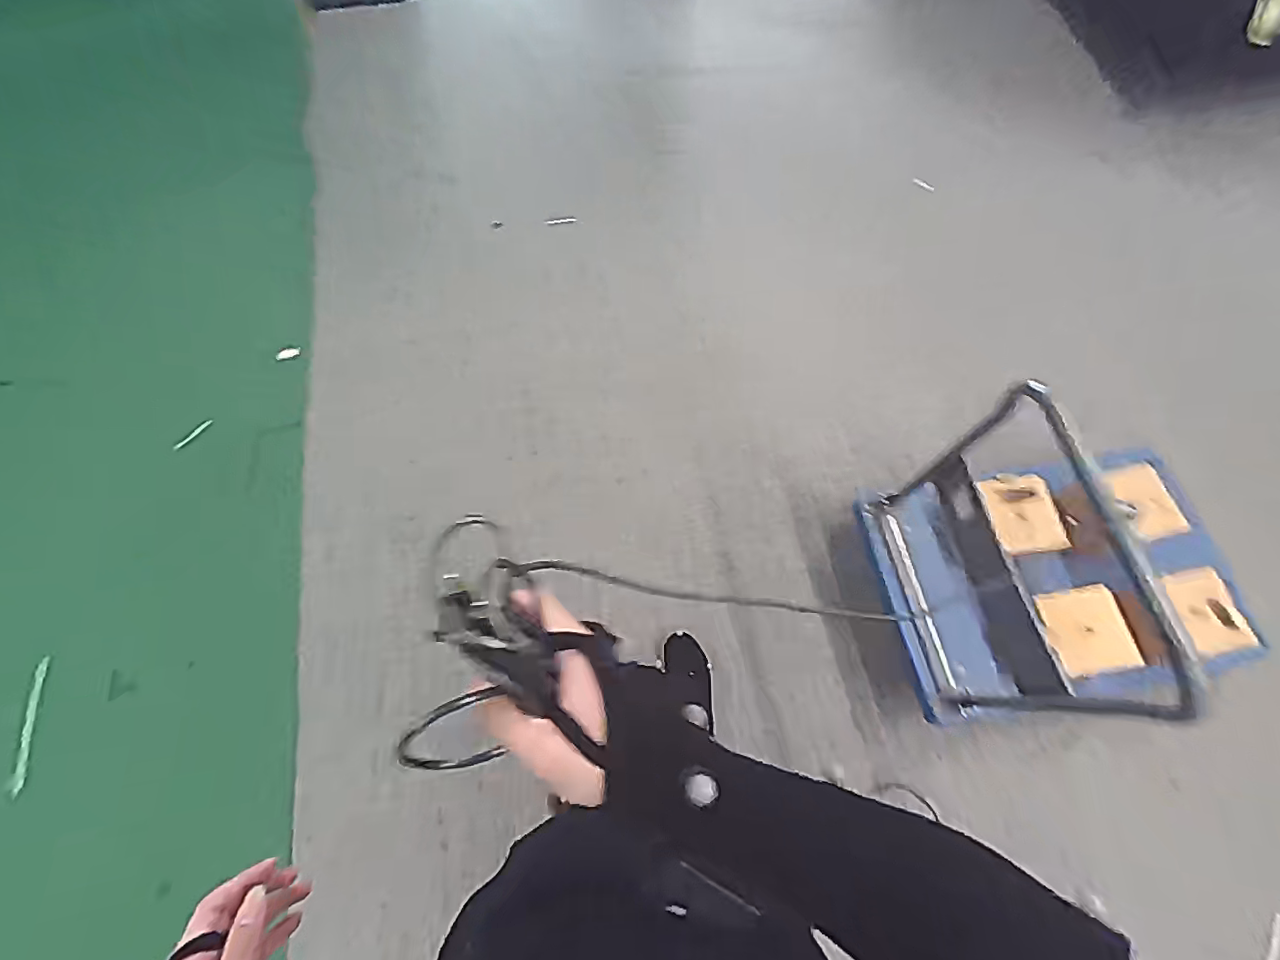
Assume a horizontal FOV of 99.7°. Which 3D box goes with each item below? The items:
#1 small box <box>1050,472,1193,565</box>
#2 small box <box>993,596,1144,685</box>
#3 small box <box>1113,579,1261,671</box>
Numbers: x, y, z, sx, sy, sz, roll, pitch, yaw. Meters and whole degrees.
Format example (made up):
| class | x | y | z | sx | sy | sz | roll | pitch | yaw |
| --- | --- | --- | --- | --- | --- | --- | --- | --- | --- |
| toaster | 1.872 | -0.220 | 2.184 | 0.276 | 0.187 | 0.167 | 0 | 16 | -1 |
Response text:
| class | x | y | z | sx | sy | sz | roll | pitch | yaw |
| --- | --- | --- | --- | --- | --- | --- | --- | --- | --- |
| small box | 1.160 | 0.101 | 1.325 | 0.179 | 0.176 | 0.168 | -12 | 69 | -5 |
| small box | 0.953 | 0.366 | 1.220 | 0.179 | 0.176 | 0.168 | -8 | 68 | -3 |
| small box | 1.208 | 0.335 | 1.232 | 0.179 | 0.176 | 0.168 | -10 | 68 | -4 |
